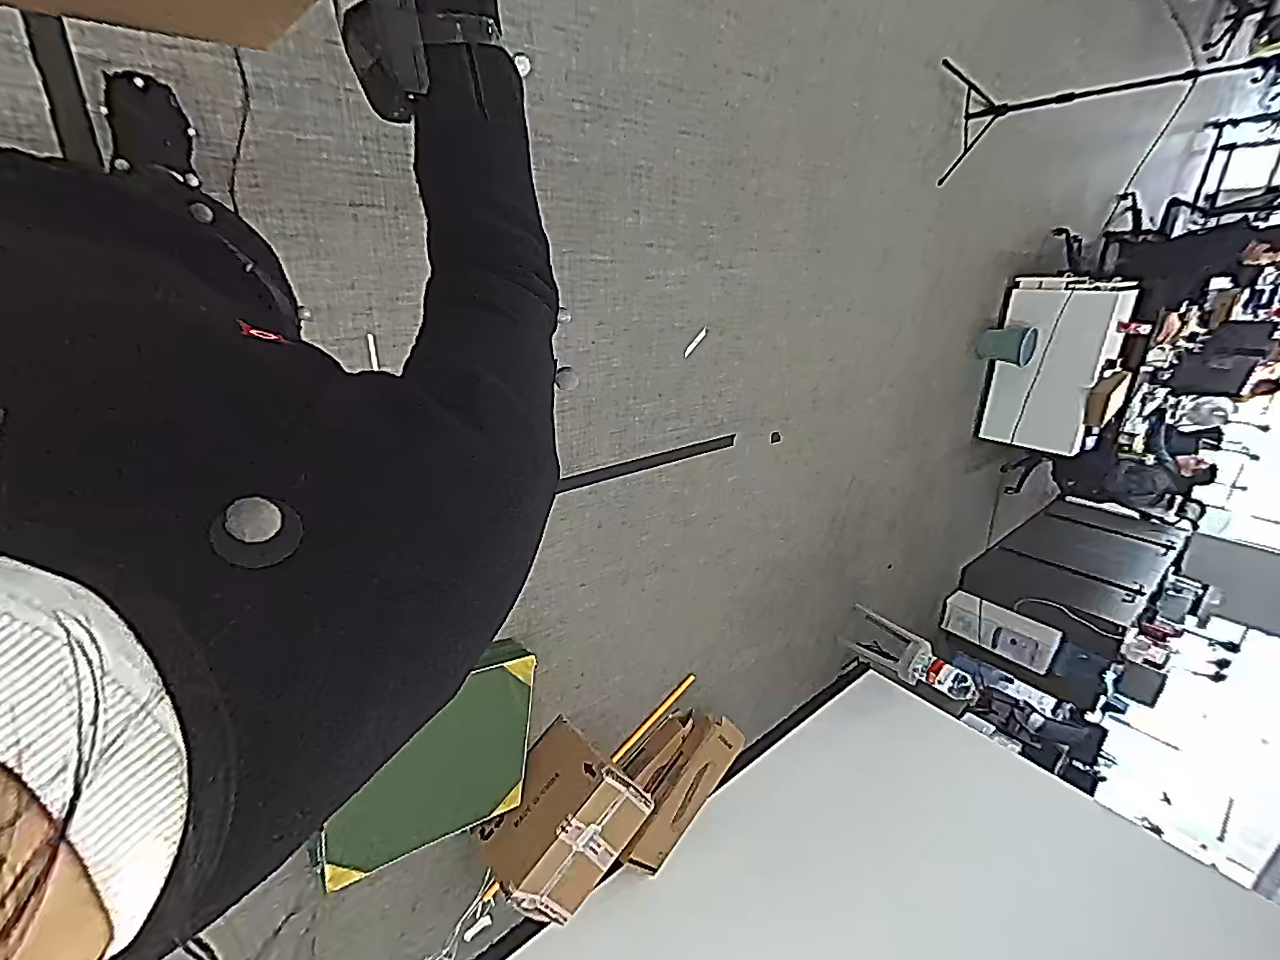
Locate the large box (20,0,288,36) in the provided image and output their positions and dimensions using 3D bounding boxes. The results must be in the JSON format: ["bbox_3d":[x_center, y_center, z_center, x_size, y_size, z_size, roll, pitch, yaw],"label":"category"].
[{"bbox_3d":[-0.401,-0.430,0.214,0.408,0.320,0.320,-20,126,-37],"label":"large box"}]
